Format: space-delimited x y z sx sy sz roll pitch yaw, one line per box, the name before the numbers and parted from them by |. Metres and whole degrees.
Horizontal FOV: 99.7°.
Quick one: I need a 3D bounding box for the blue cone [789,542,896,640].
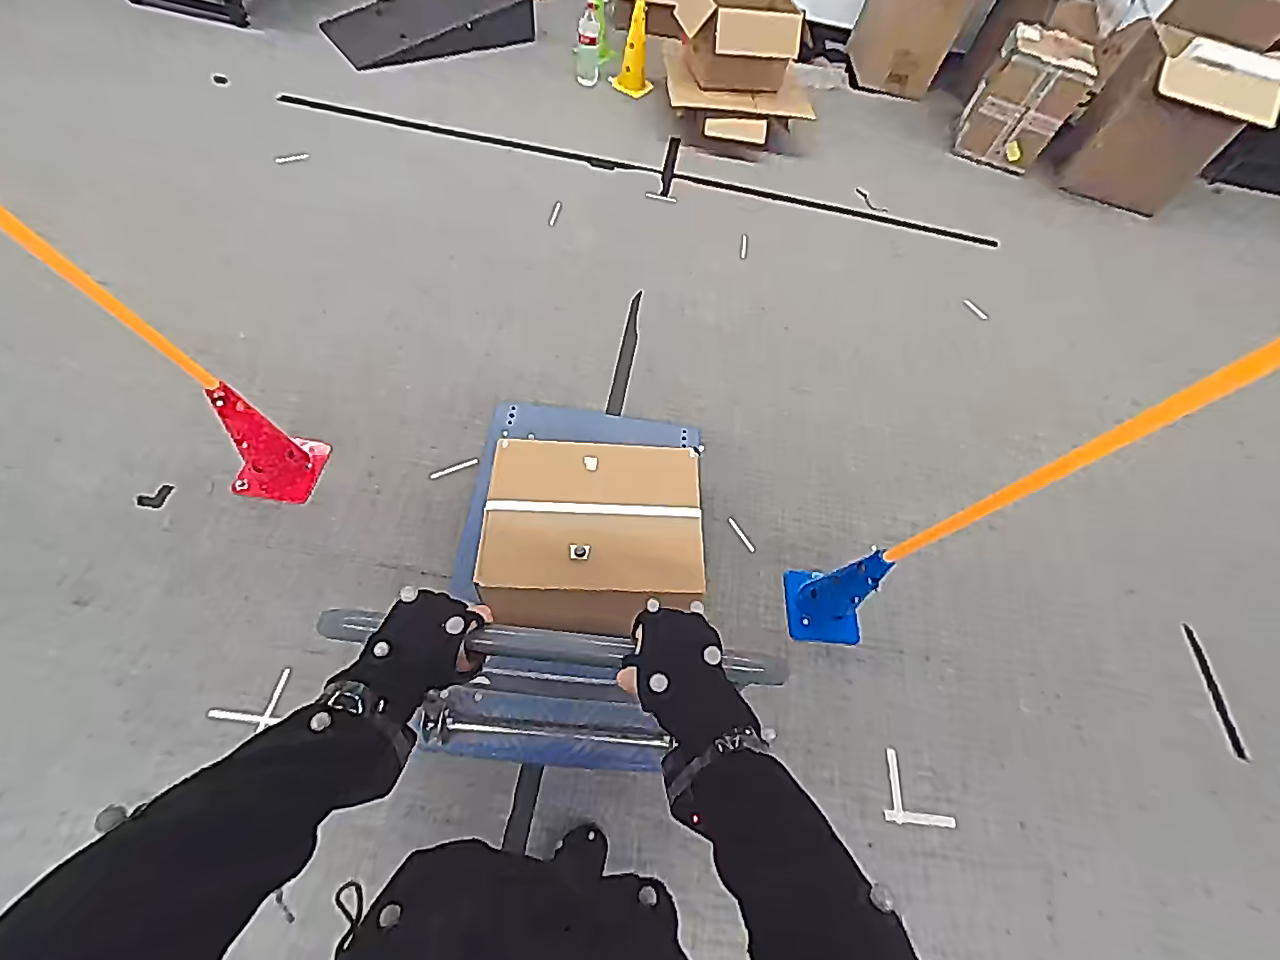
blue cone | 0.534 0.261 1.364 0.193 0.380 0.192 7 58 -5
